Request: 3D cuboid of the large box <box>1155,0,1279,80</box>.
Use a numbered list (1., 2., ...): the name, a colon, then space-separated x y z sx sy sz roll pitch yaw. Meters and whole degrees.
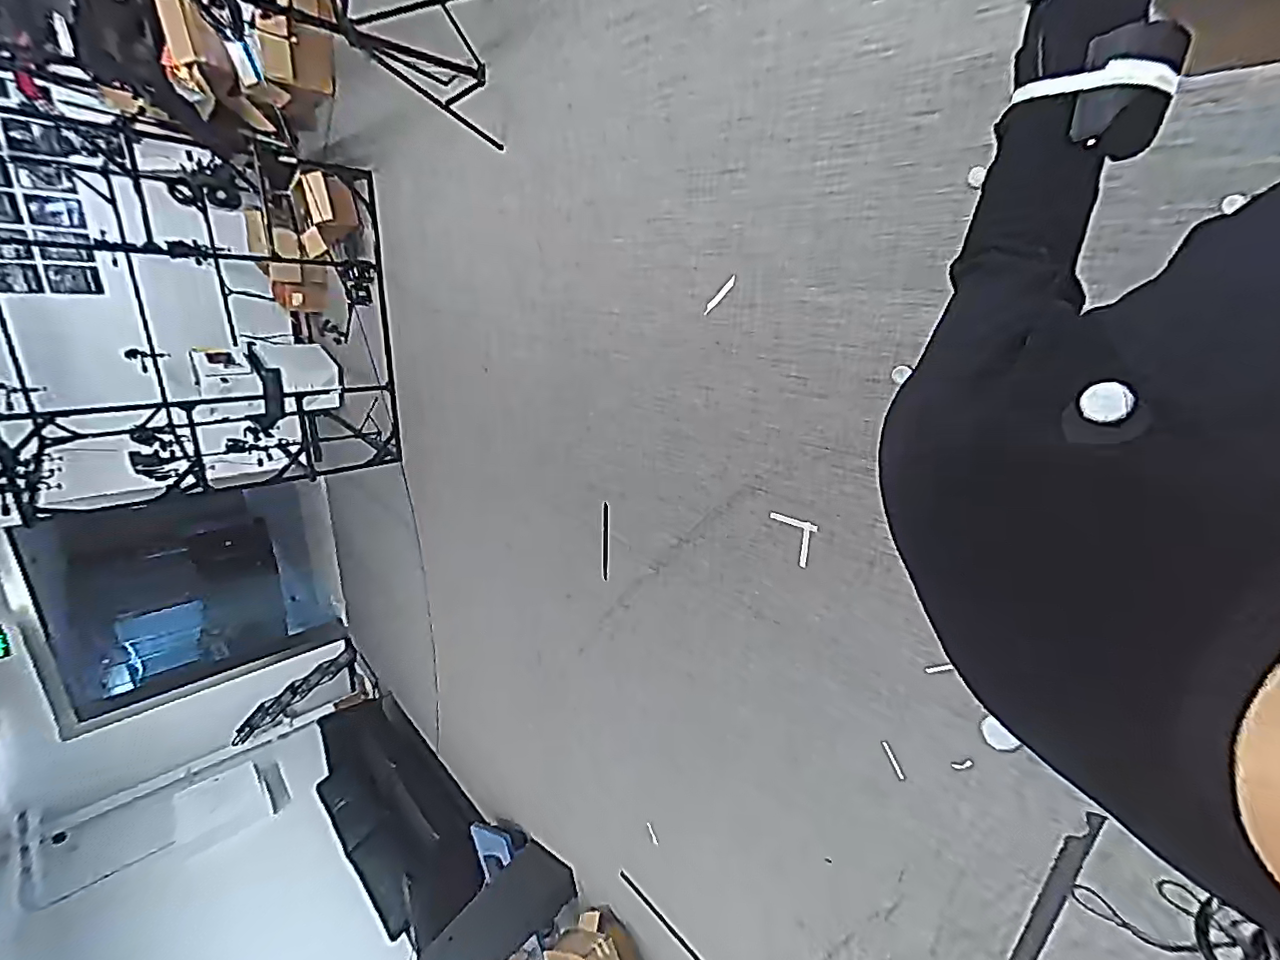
1. large box: 0.566 -0.446 0.258 0.408 0.320 0.320 20 122 41
